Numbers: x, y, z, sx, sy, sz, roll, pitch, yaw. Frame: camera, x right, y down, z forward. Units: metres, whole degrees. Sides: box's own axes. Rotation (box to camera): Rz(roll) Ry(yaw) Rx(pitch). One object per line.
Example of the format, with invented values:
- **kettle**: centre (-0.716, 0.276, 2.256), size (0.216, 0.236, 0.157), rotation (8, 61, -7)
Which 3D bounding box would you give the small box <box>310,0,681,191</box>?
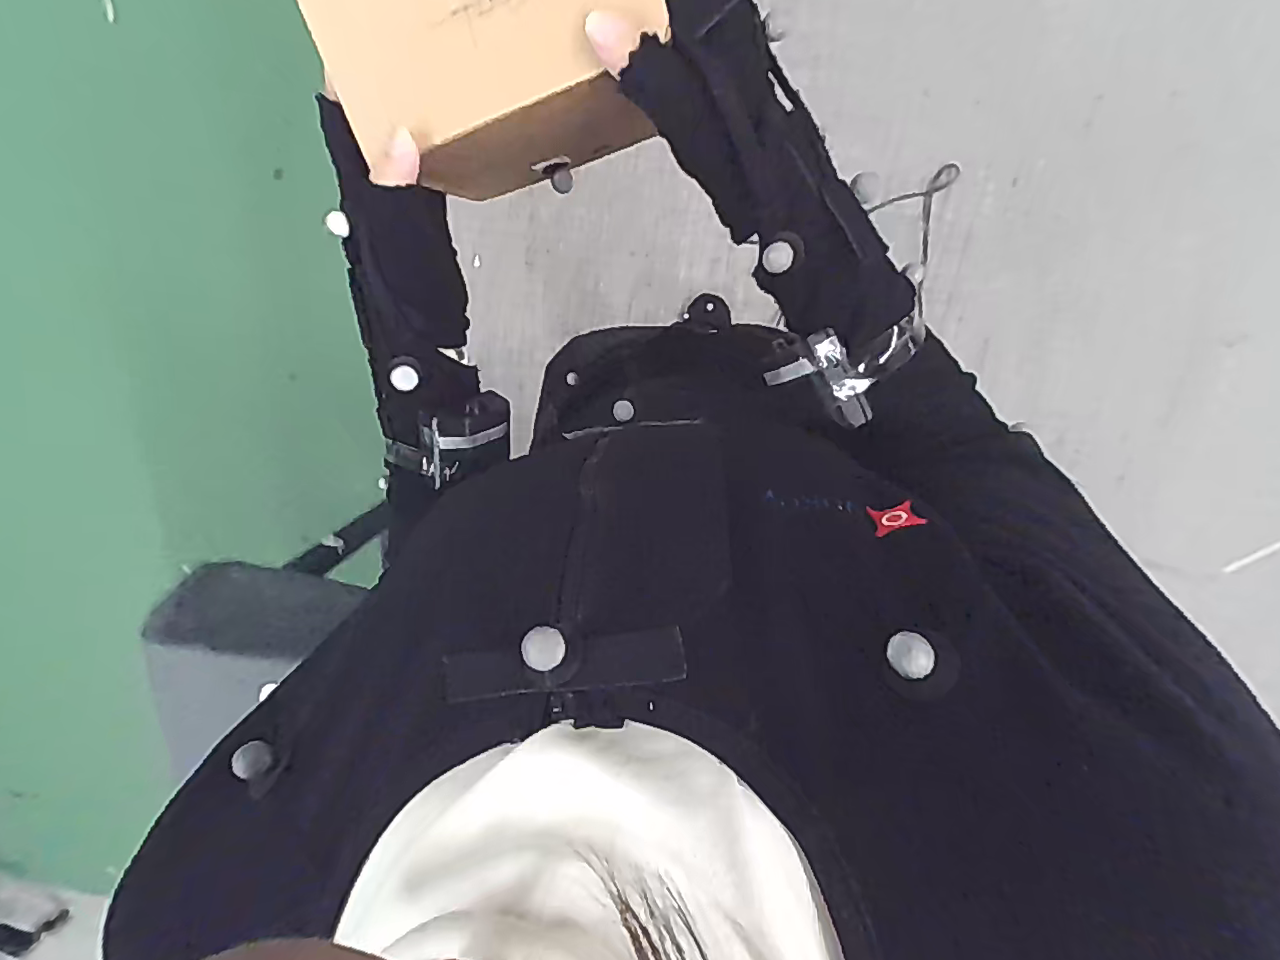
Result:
- **small box**: centre (-0.077, -0.293, 0.311), size (0.168, 0.176, 0.179), rotation (-14, 110, 11)
